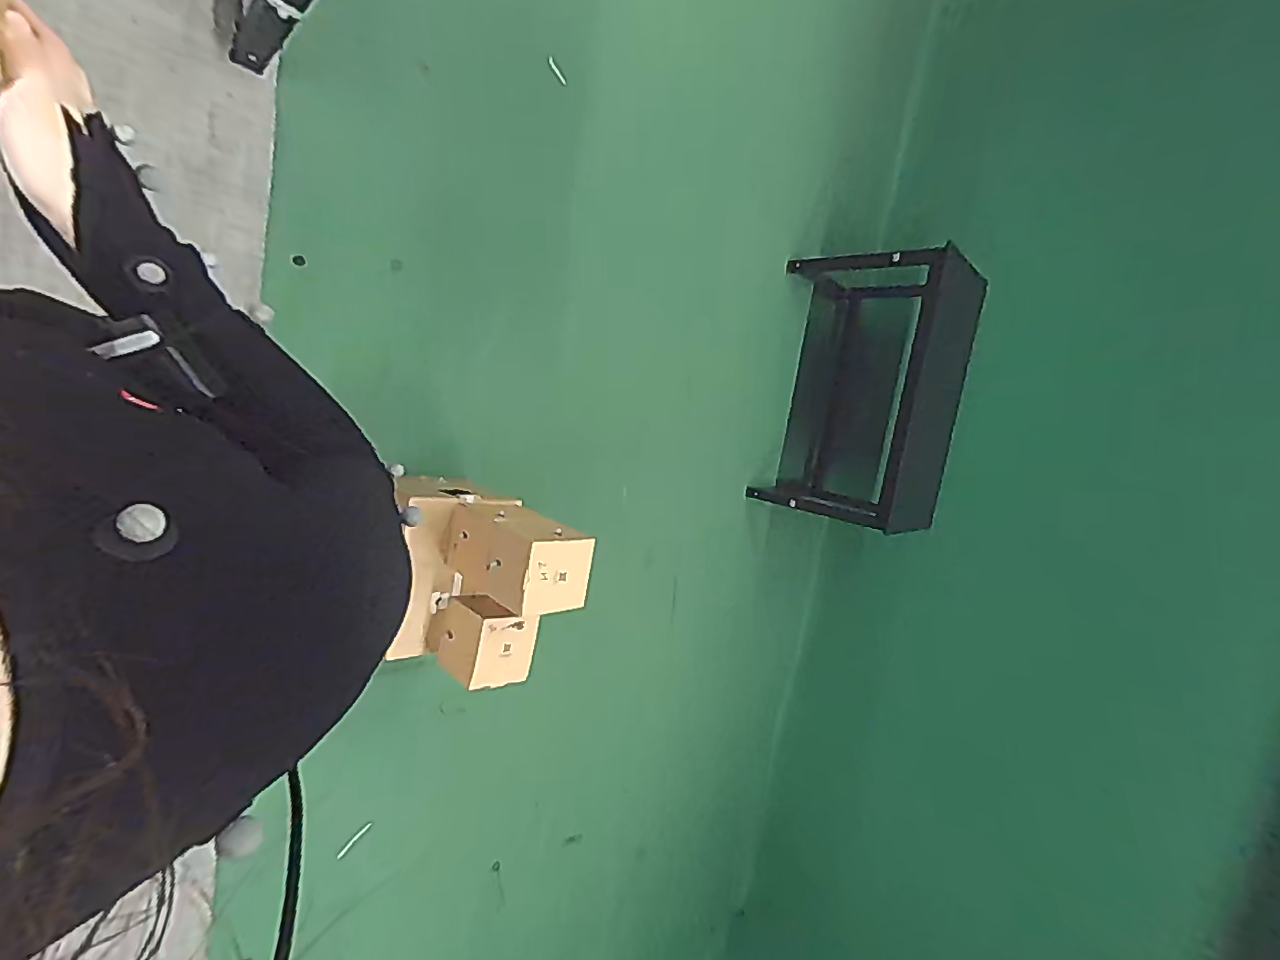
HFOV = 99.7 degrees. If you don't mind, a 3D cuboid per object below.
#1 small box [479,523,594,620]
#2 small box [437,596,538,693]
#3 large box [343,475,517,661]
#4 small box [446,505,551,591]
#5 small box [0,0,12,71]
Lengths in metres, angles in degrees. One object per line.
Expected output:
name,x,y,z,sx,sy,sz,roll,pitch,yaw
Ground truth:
small box,-0.234,0.196,1.217,0.179,0.176,0.168,3,99,-46
small box,-0.387,0.404,1.356,0.168,0.176,0.179,12,92,-48
large box,-0.573,0.213,1.468,0.320,0.320,0.408,5,99,-46
small box,-0.348,0.160,1.330,0.179,0.176,0.168,5,98,-47
small box,-0.406,-0.314,0.232,0.168,0.176,0.179,-2,118,-45
